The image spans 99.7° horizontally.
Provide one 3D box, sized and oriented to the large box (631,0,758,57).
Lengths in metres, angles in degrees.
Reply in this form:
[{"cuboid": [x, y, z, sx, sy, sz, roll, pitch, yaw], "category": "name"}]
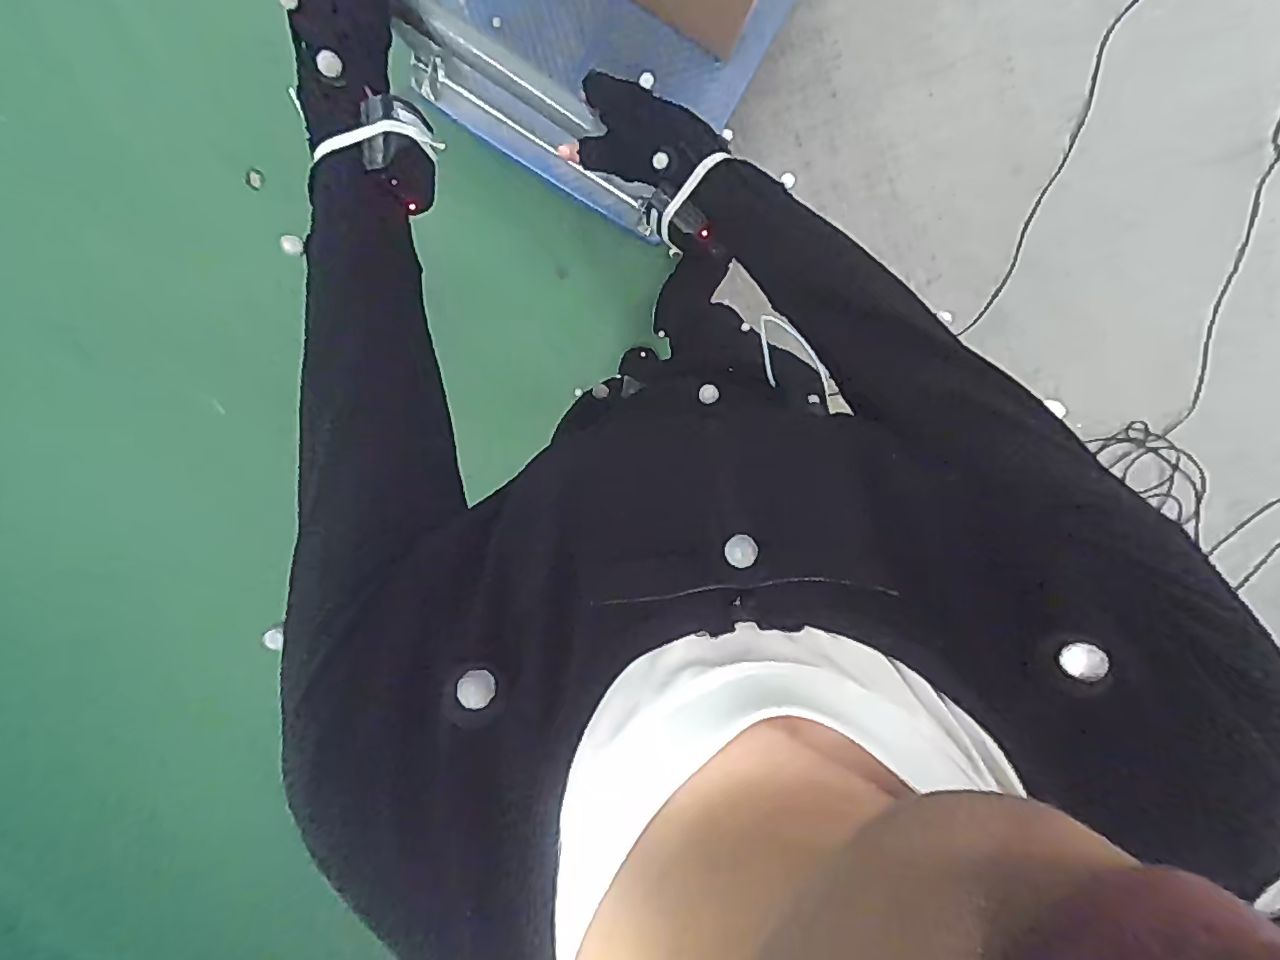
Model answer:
[{"cuboid": [0.062, -0.972, 0.834, 0.408, 0.320, 0.320, 27, 106, -9], "category": "large box"}]
